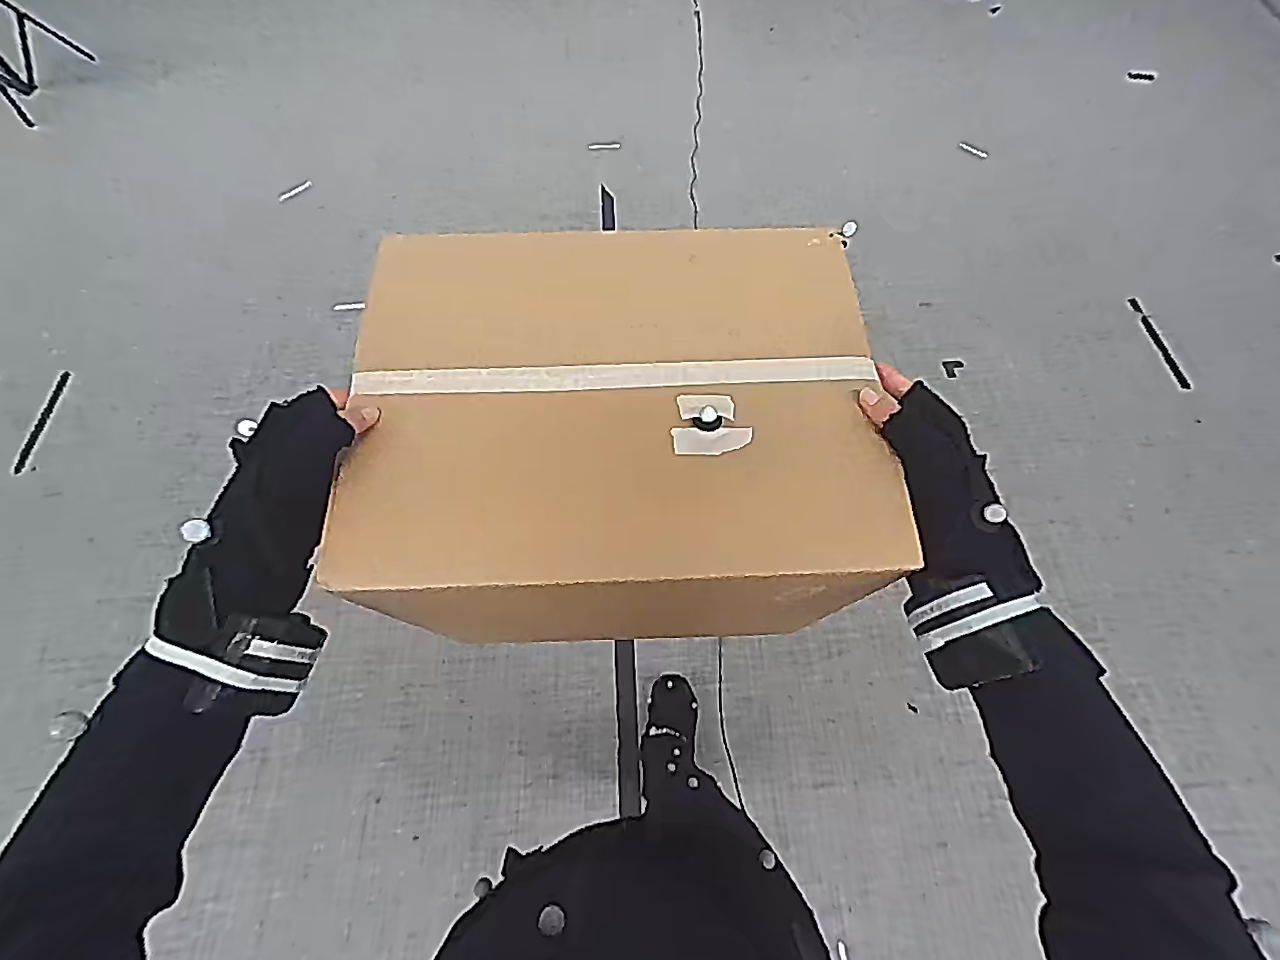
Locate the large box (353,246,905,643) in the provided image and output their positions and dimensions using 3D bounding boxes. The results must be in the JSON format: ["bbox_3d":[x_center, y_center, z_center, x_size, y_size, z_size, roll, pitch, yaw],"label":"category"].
[{"bbox_3d":[-0.015,-0.013,0.578,0.408,0.320,0.320,-2,66,-1],"label":"large box"}]
